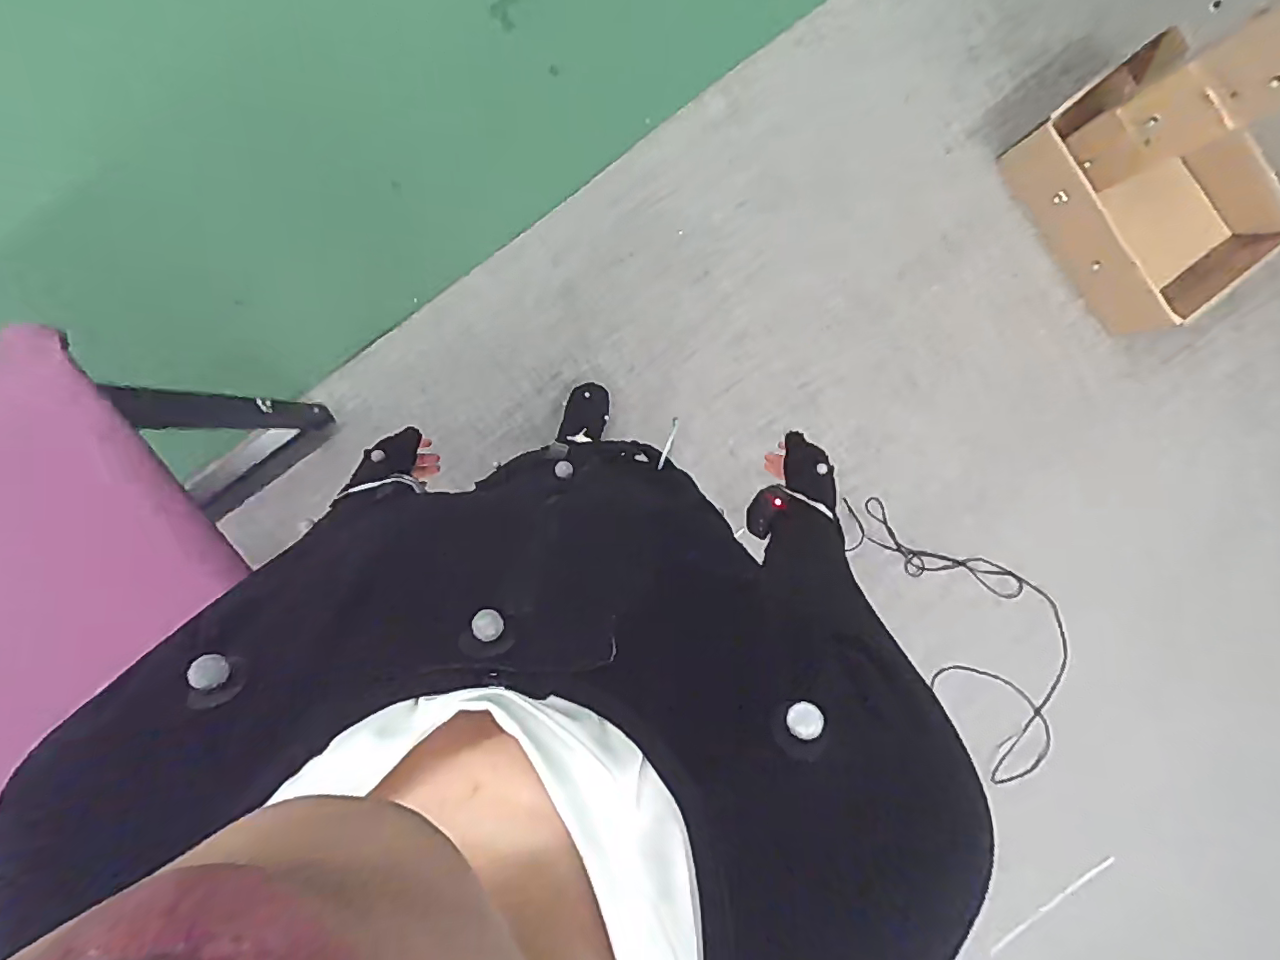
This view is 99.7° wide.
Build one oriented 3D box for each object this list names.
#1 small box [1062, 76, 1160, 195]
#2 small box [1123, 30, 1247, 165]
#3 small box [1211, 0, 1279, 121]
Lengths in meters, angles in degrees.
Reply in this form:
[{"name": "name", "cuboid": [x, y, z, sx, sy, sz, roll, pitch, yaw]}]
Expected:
[{"name": "small box", "cuboid": [1.210, -0.850, 1.333, 0.179, 0.176, 0.168, -37, 97, 0]}, {"name": "small box", "cuboid": [1.224, -0.836, 1.172, 0.179, 0.176, 0.168, -38, 97, 0]}, {"name": "small box", "cuboid": [1.240, -0.826, 1.009, 0.179, 0.176, 0.168, -40, 98, 0]}]
